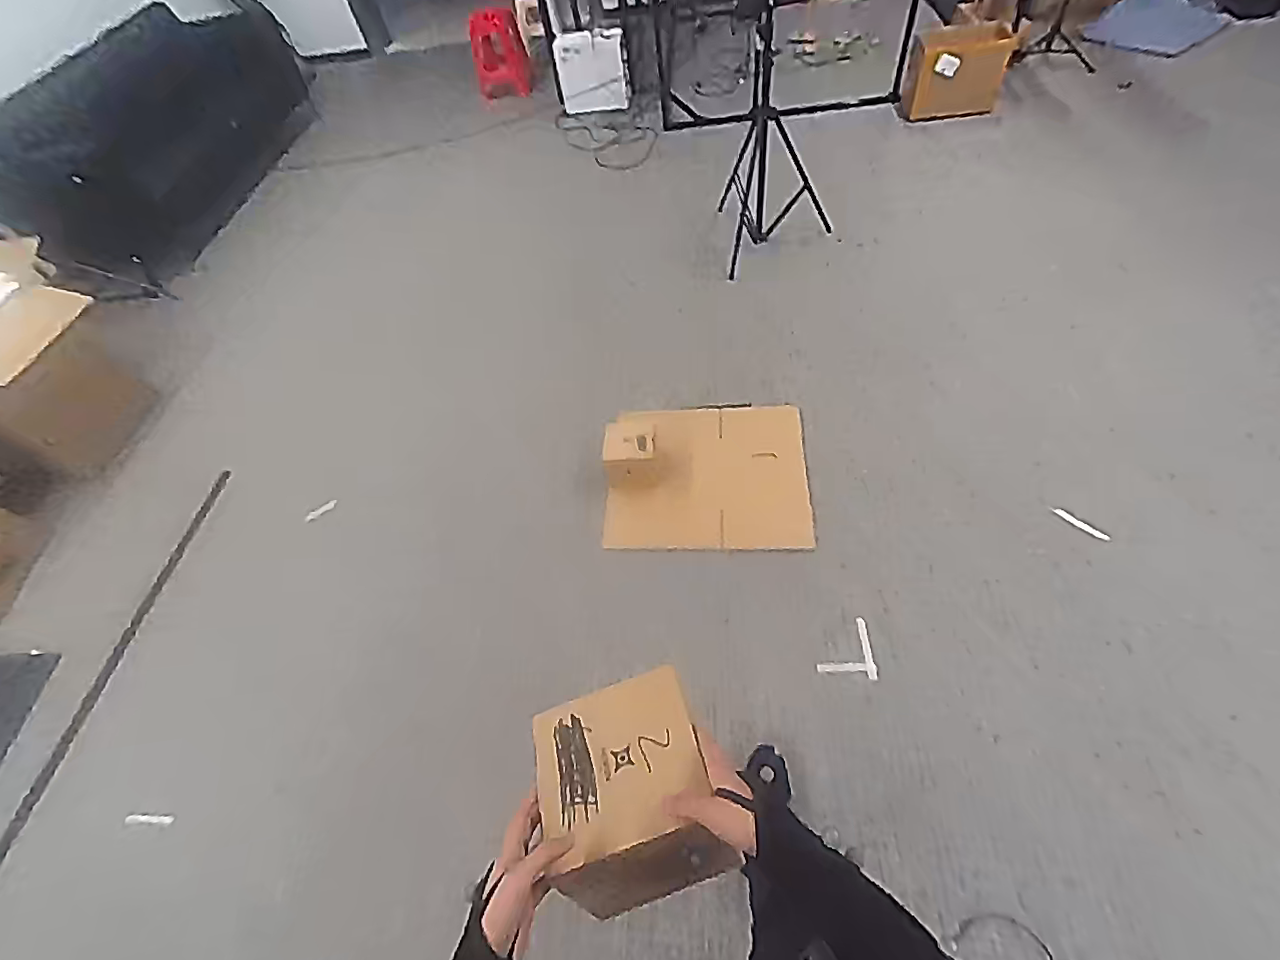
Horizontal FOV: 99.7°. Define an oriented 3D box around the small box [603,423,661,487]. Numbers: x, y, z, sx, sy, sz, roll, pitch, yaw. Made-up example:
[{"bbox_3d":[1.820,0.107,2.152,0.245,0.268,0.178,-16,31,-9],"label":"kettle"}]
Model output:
[{"bbox_3d":[-0.020,-0.085,1.909,0.179,0.176,0.168,-1,55,10],"label":"small box"}]
